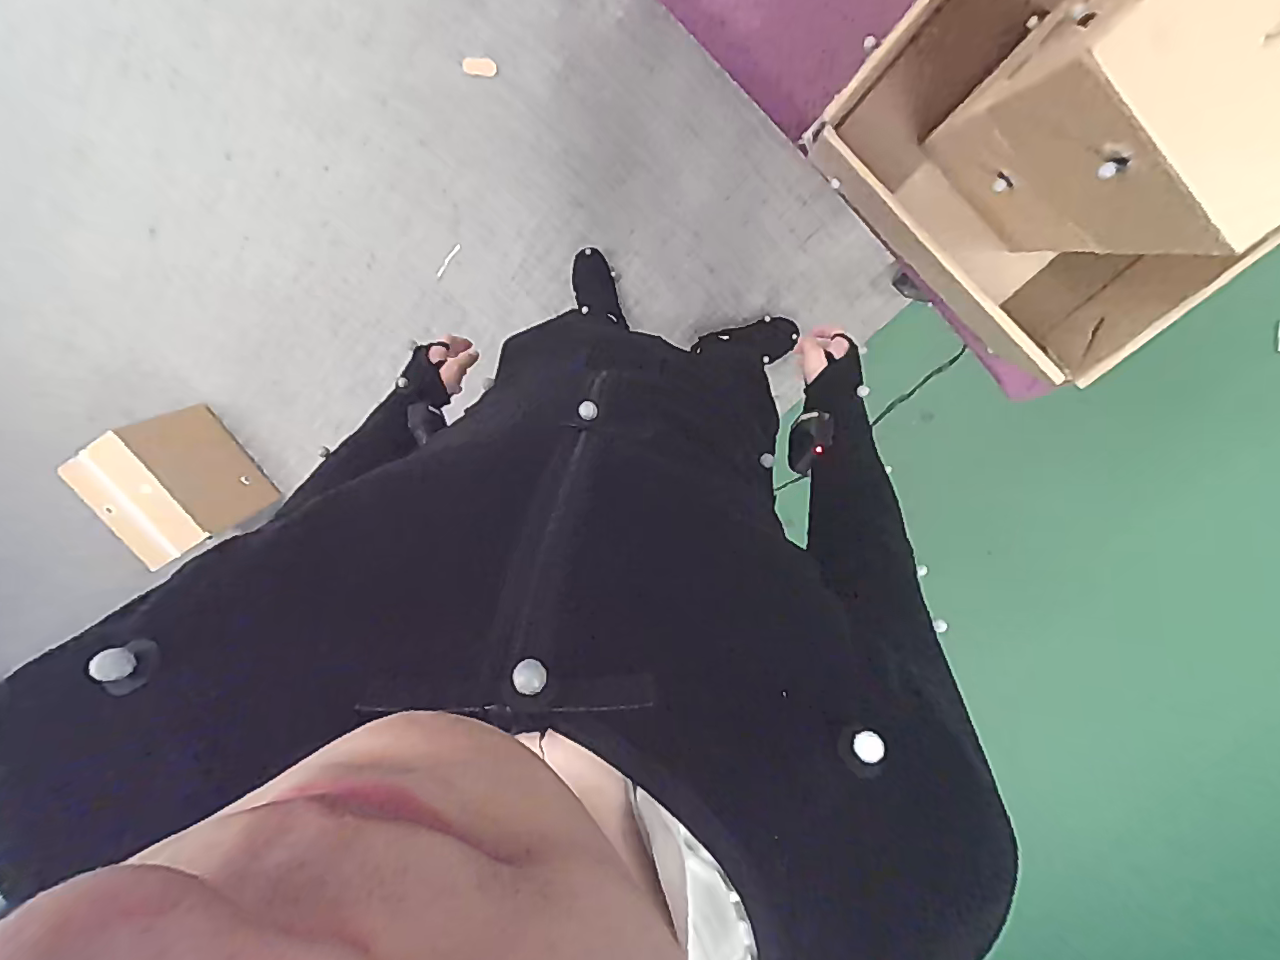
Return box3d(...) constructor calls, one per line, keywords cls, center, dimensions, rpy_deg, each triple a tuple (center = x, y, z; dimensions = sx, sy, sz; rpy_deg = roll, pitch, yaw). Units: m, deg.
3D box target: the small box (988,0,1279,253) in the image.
box3d(cls="small box", center=(0.405, -0.289, 0.398), dimensions=(0.179, 0.176, 0.168), rpy_deg=(44, 113, -9))
